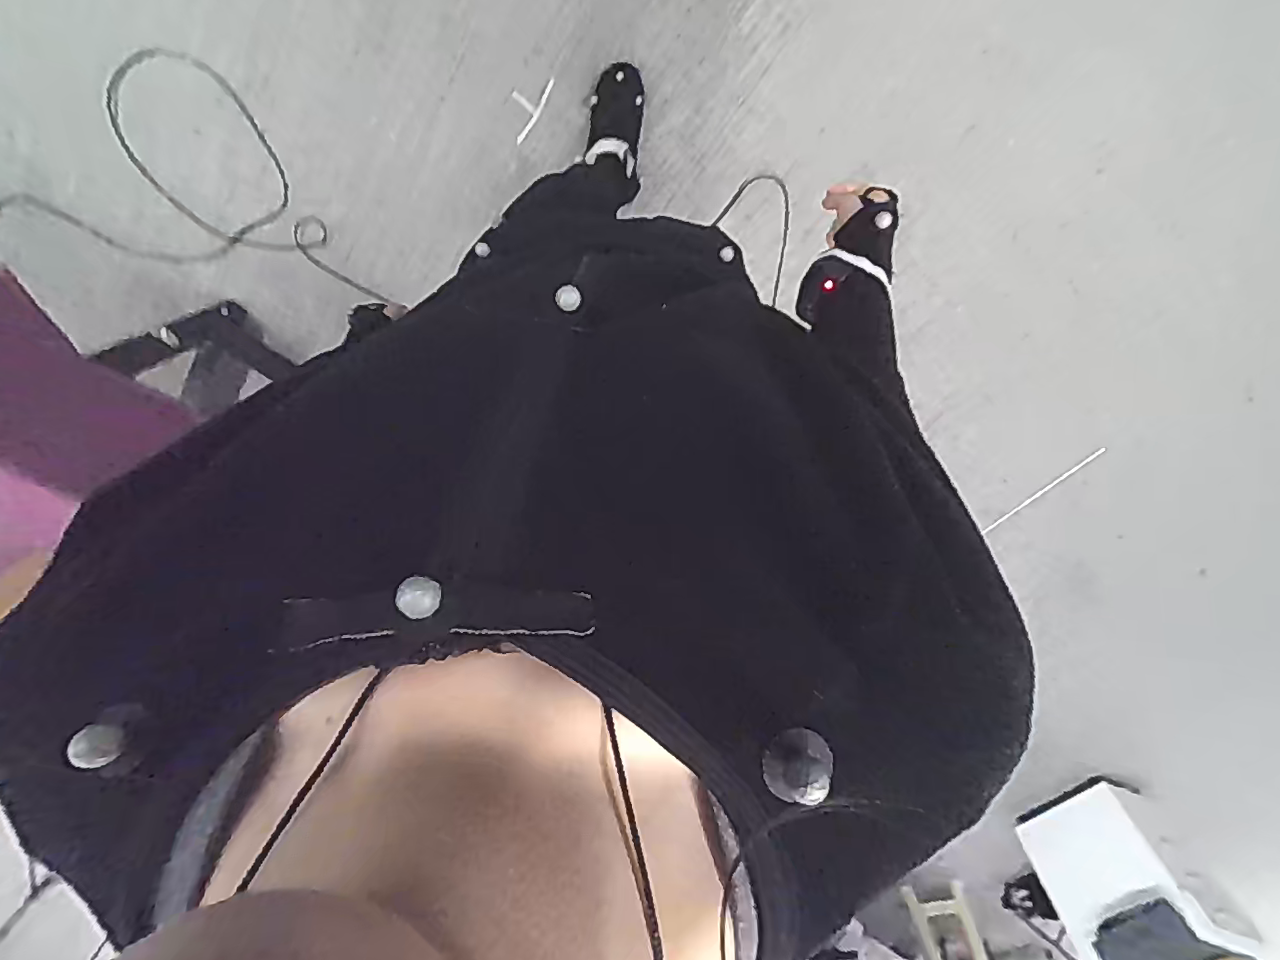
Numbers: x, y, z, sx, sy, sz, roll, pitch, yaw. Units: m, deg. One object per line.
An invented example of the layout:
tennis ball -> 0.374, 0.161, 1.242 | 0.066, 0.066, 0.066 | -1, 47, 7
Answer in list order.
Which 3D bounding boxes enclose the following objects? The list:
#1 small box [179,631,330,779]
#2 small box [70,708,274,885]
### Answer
small box -> -0.716, 0.411, 0.996 | 0.179, 0.176, 0.168 | 36, 117, -19
small box -> -0.725, 0.495, 0.857 | 0.168, 0.176, 0.179 | 35, 118, -18
